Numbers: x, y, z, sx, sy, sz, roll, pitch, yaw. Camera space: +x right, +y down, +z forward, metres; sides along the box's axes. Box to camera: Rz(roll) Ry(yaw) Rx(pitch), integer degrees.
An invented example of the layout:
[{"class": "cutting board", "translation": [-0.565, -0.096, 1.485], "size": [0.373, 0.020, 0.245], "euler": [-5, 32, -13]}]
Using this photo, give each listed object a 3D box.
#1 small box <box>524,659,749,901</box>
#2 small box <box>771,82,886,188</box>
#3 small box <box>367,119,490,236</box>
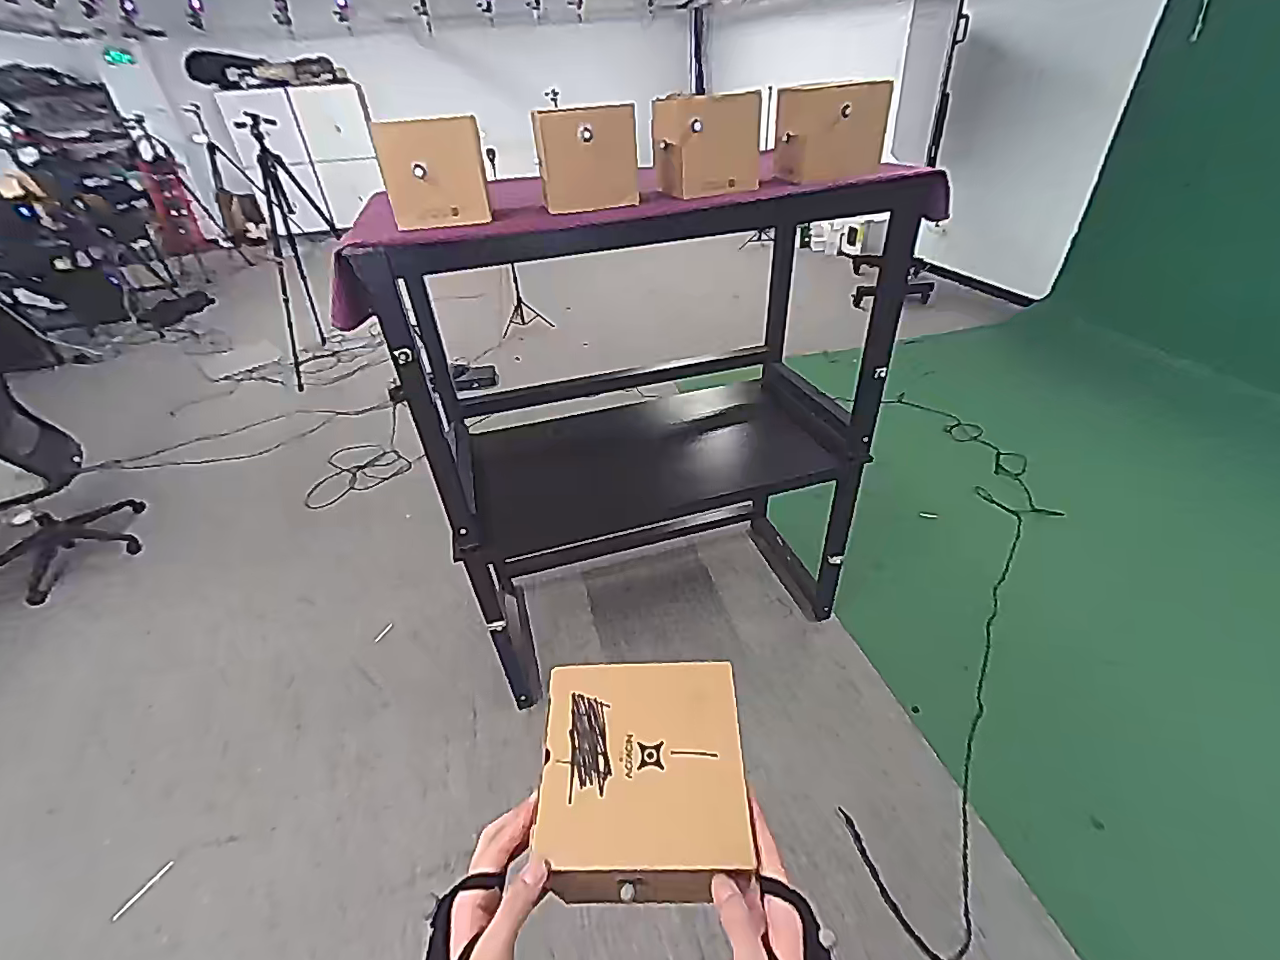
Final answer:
[{"class": "small box", "translation": [0.004, 0.290, 0.519], "size": [0.179, 0.176, 0.168], "euler": [-3, 45, 3]}, {"class": "small box", "translation": [0.389, -0.733, 1.150], "size": [0.179, 0.176, 0.168], "euler": [-11, 38, -7]}, {"class": "small box", "translation": [-0.379, -0.560, 1.005], "size": [0.168, 0.176, 0.179], "euler": [-10, 35, -8]}]
